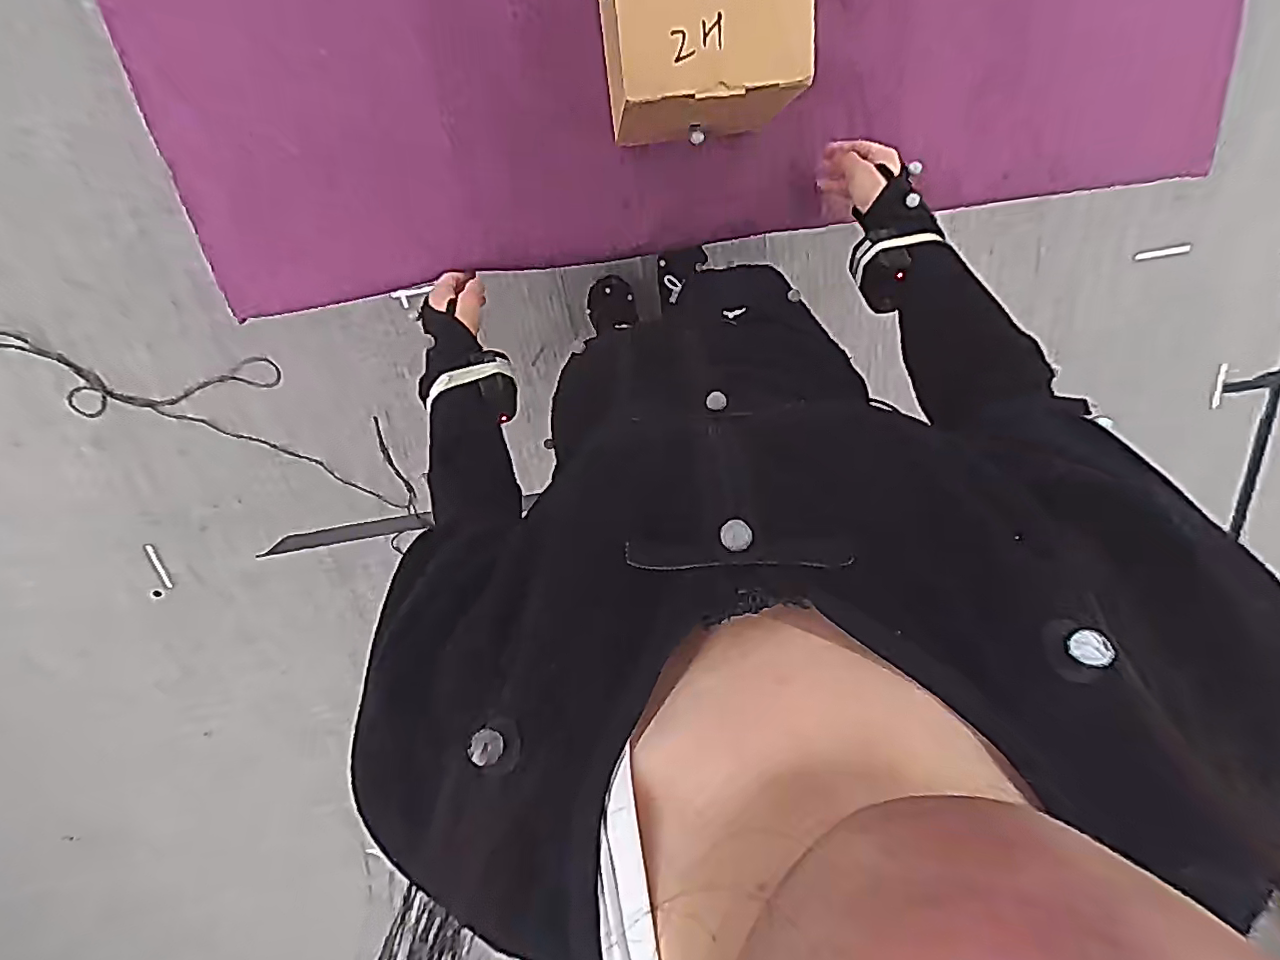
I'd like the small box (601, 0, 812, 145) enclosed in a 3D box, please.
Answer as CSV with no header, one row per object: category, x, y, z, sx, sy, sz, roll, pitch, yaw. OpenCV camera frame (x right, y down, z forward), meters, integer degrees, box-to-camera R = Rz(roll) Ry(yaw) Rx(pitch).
small box,0.052,-0.442,0.510,0.168,0.176,0.179,-8,111,-2
